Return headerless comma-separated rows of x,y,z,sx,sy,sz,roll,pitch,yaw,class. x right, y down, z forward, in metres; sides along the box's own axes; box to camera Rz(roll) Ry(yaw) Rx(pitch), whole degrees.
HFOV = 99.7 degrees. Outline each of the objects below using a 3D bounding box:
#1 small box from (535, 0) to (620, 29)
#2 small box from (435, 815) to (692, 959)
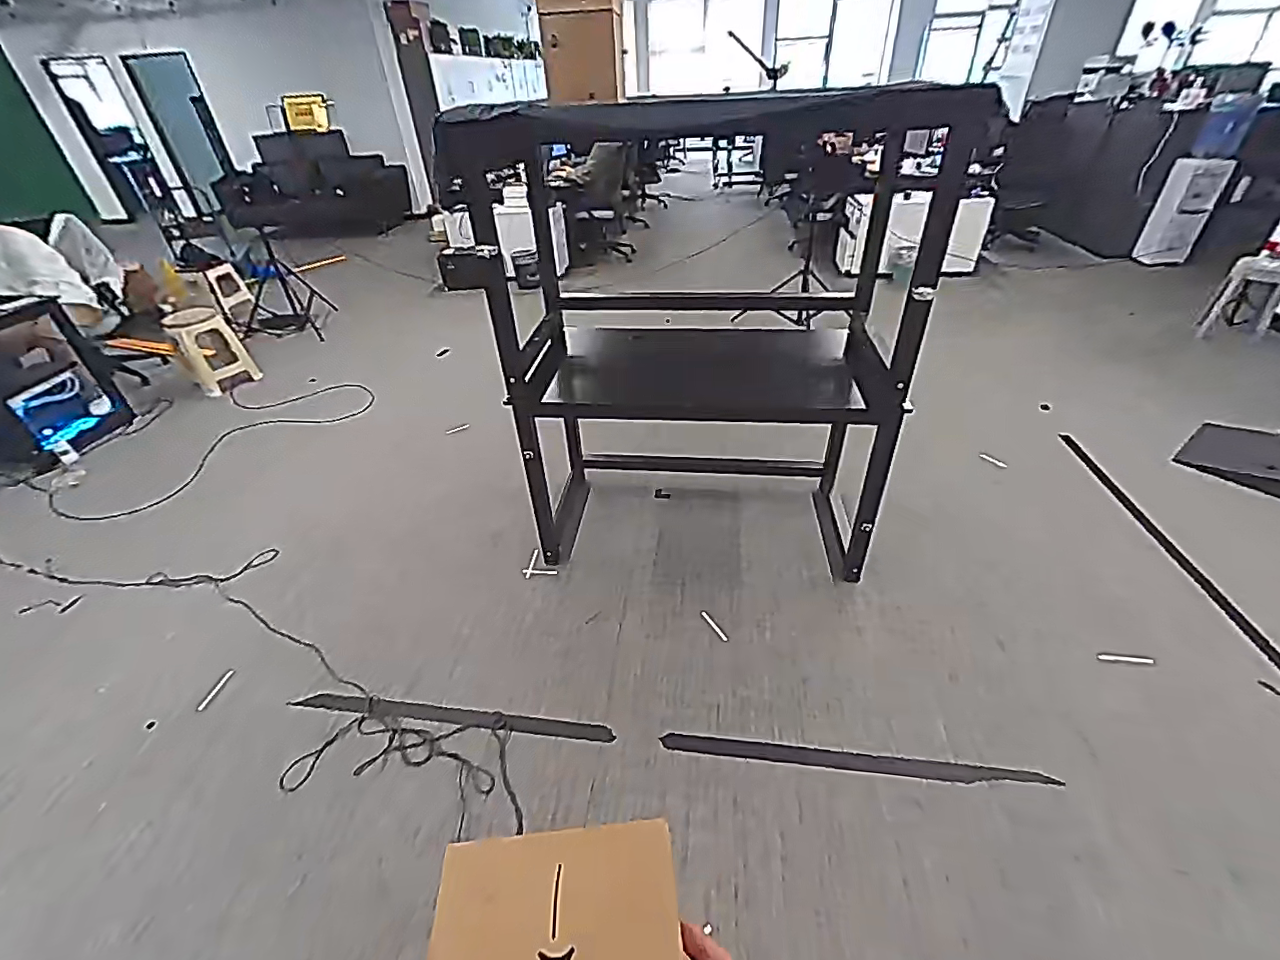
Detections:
-0.137,-1.096,1.164,0.168,0.176,0.179,2,35,7,small box
-0.043,0.370,0.387,0.168,0.176,0.179,-6,42,-1,small box
